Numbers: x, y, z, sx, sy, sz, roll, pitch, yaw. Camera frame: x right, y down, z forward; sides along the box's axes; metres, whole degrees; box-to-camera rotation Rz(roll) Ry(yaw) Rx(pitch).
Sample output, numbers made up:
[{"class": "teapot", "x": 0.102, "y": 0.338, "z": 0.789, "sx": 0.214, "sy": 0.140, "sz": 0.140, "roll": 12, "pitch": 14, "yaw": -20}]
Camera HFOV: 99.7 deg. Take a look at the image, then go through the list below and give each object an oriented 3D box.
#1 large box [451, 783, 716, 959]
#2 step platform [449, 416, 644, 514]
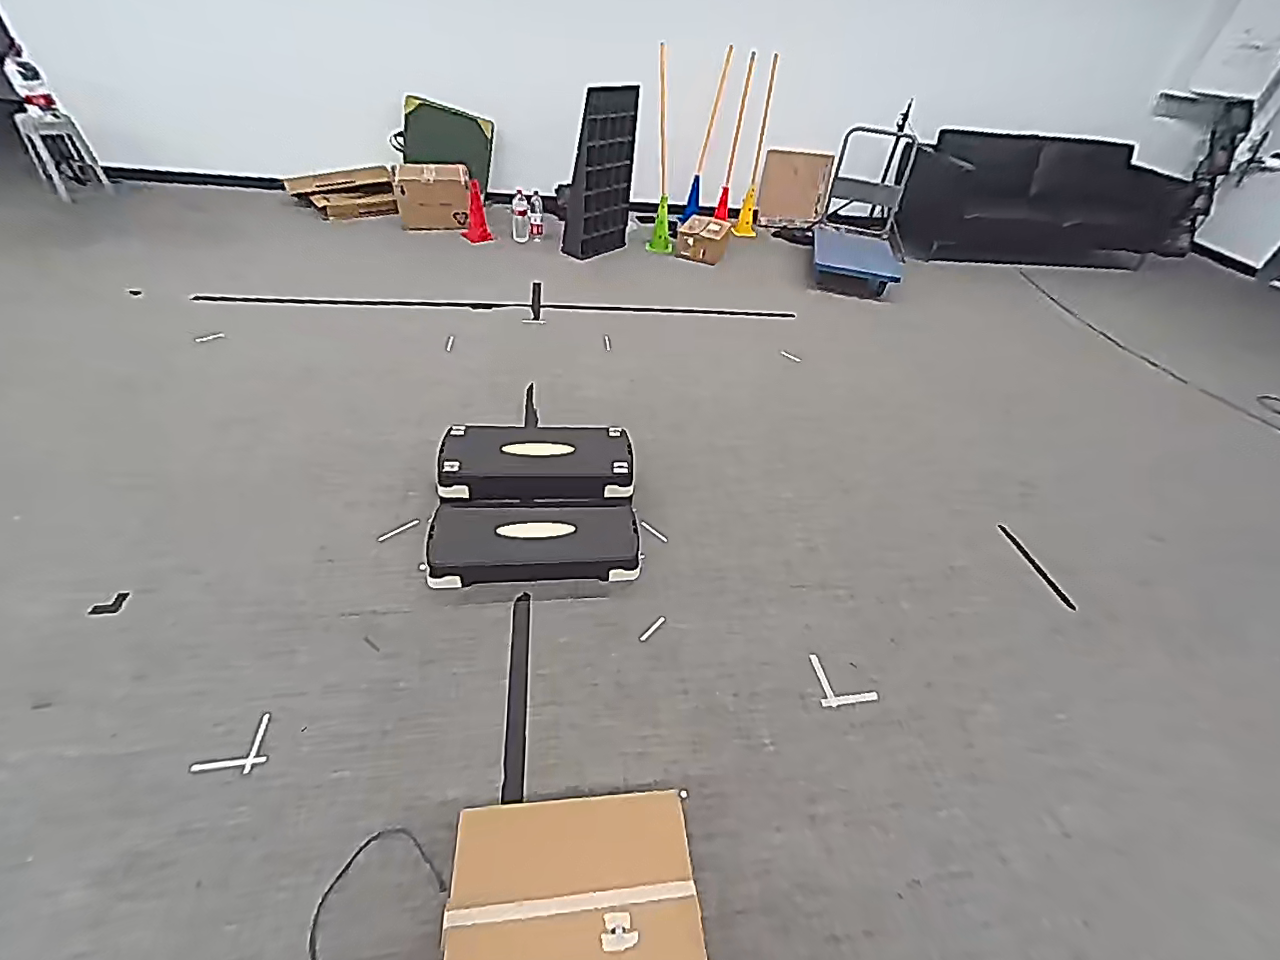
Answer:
[{"class": "large box", "x": -0.110, "y": 0.782, "z": 0.966, "sx": 0.408, "sy": 0.320, "sz": 0.320, "roll": 1, "pitch": 42, "yaw": -10}, {"class": "step platform", "x": -0.324, "y": -0.057, "z": 1.948, "sx": 0.684, "sy": 0.204, "sz": 0.286, "roll": 4, "pitch": 42, "yaw": -5}]
